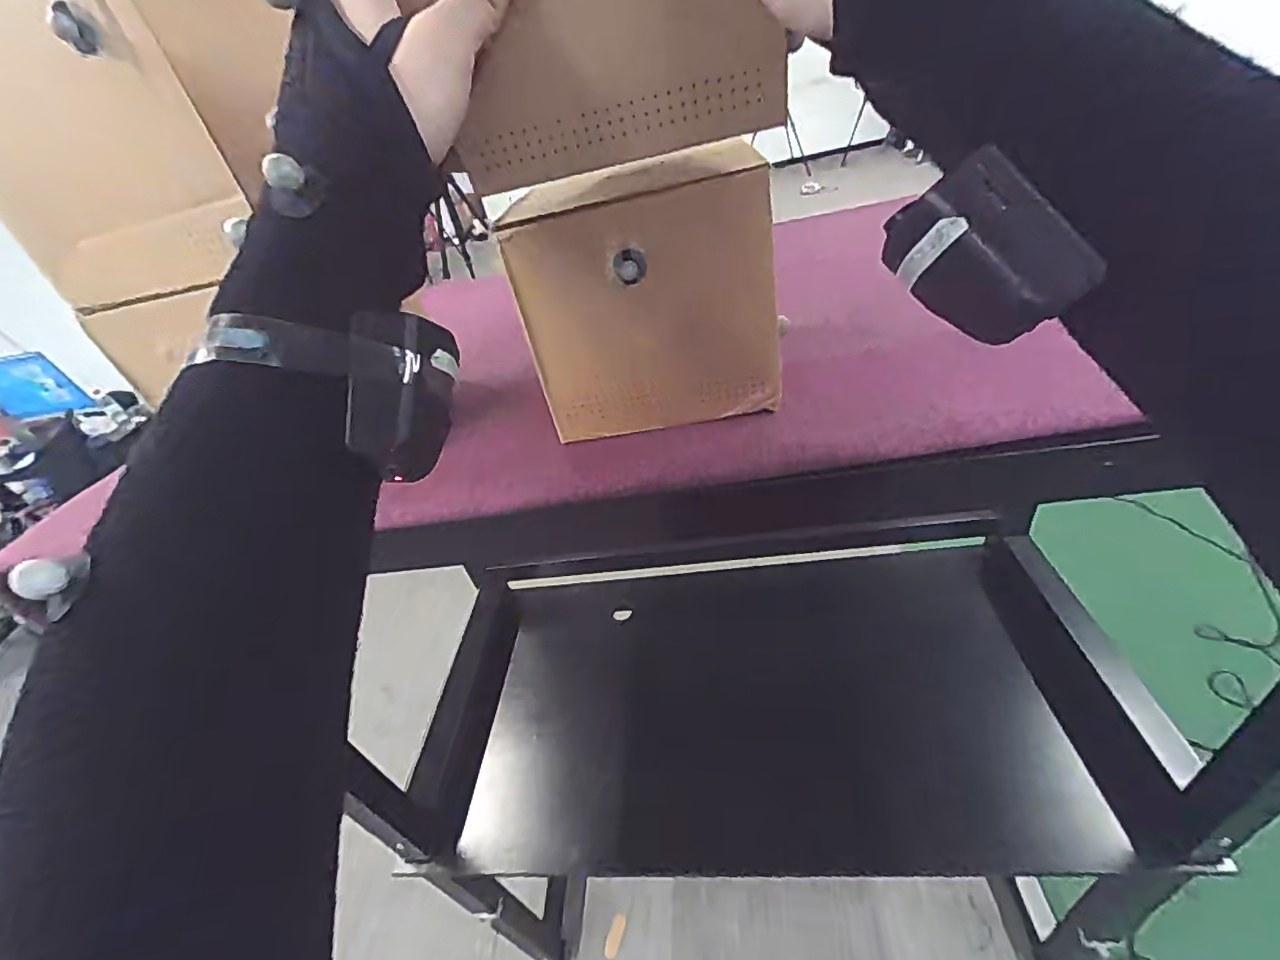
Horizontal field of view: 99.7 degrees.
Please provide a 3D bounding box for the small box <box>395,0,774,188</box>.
[{"bbox_3d":[-0.028,-0.287,0.287,0.179,0.176,0.168,-10,47,9],"label":"small box"}]

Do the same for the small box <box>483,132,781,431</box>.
[{"bbox_3d":[0.008,-0.153,0.428,0.179,0.176,0.168,-8,36,10],"label":"small box"}]

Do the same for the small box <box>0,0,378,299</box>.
[{"bbox_3d":[-0.335,-0.245,0.394,0.179,0.176,0.168,-8,35,8],"label":"small box"}]

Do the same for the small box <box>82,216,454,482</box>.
[{"bbox_3d":[-0.300,-0.114,0.485,0.179,0.176,0.168,-9,36,9],"label":"small box"}]
